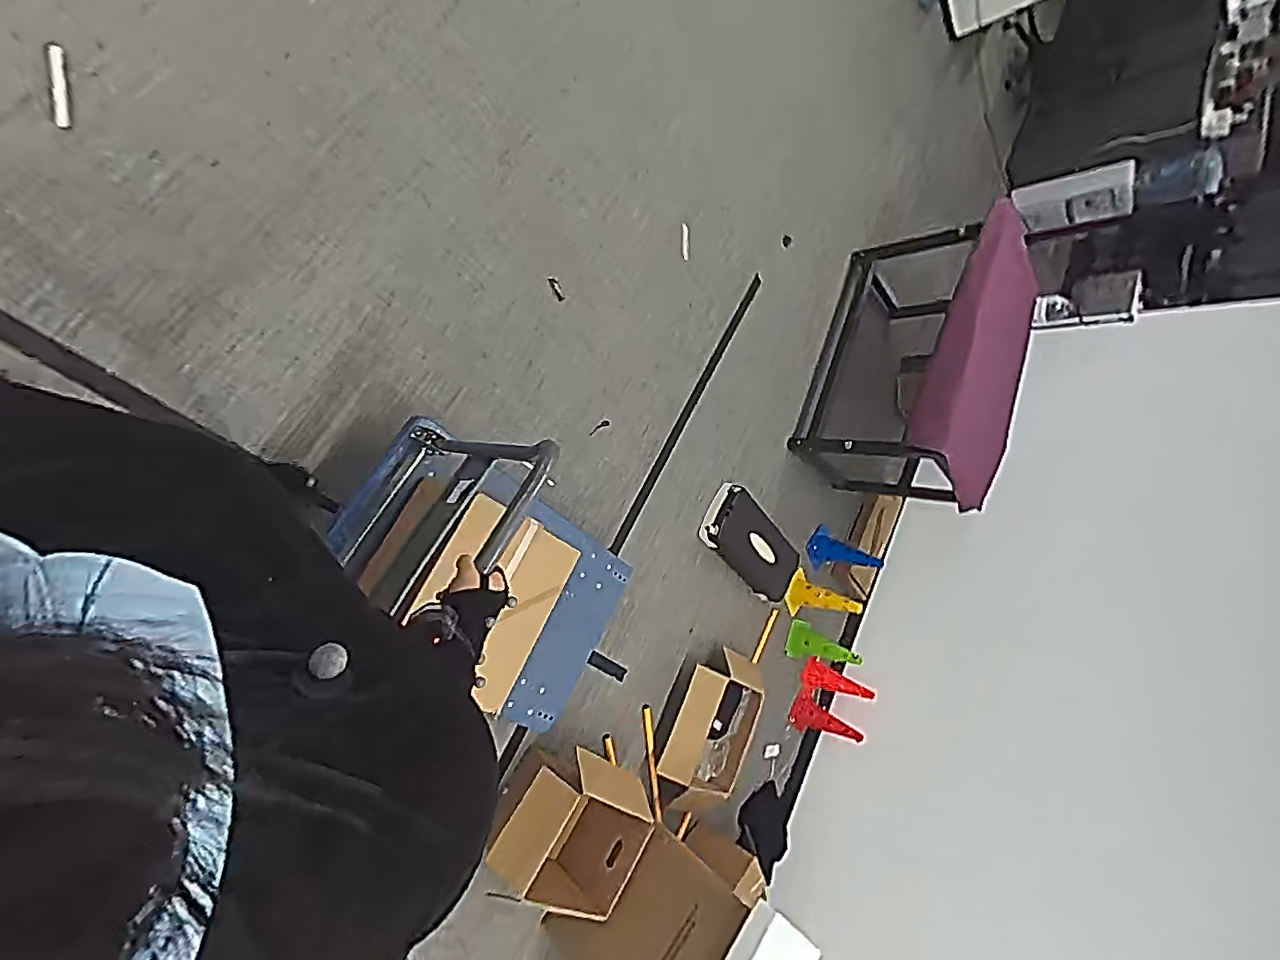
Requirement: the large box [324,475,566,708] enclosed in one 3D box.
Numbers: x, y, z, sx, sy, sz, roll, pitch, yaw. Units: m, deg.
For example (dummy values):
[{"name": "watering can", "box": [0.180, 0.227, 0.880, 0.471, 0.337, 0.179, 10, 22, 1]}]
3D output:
[{"name": "large box", "box": [-0.448, 0.244, 1.261, 0.320, 0.320, 0.408, 39, 72, -38]}]
